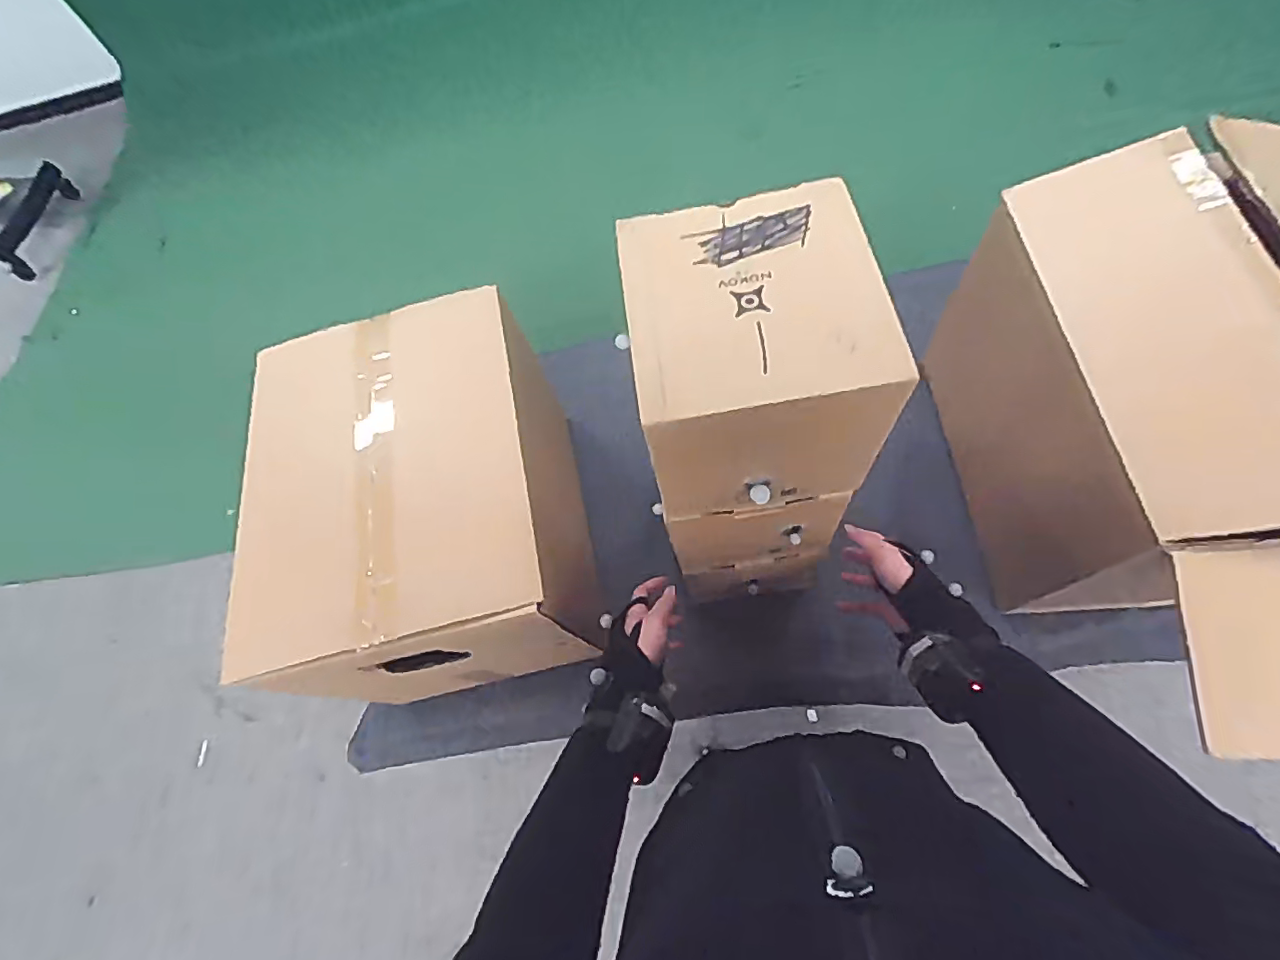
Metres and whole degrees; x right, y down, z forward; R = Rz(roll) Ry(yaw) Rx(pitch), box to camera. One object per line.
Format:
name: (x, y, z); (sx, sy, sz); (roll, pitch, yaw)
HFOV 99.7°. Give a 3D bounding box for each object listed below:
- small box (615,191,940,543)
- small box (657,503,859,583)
small box: (0.081, -0.068, 0.399); (0.168, 0.176, 0.179); (-10, 67, 5)
small box: (0.102, -0.002, 0.547); (0.168, 0.176, 0.179); (-10, 64, 4)
